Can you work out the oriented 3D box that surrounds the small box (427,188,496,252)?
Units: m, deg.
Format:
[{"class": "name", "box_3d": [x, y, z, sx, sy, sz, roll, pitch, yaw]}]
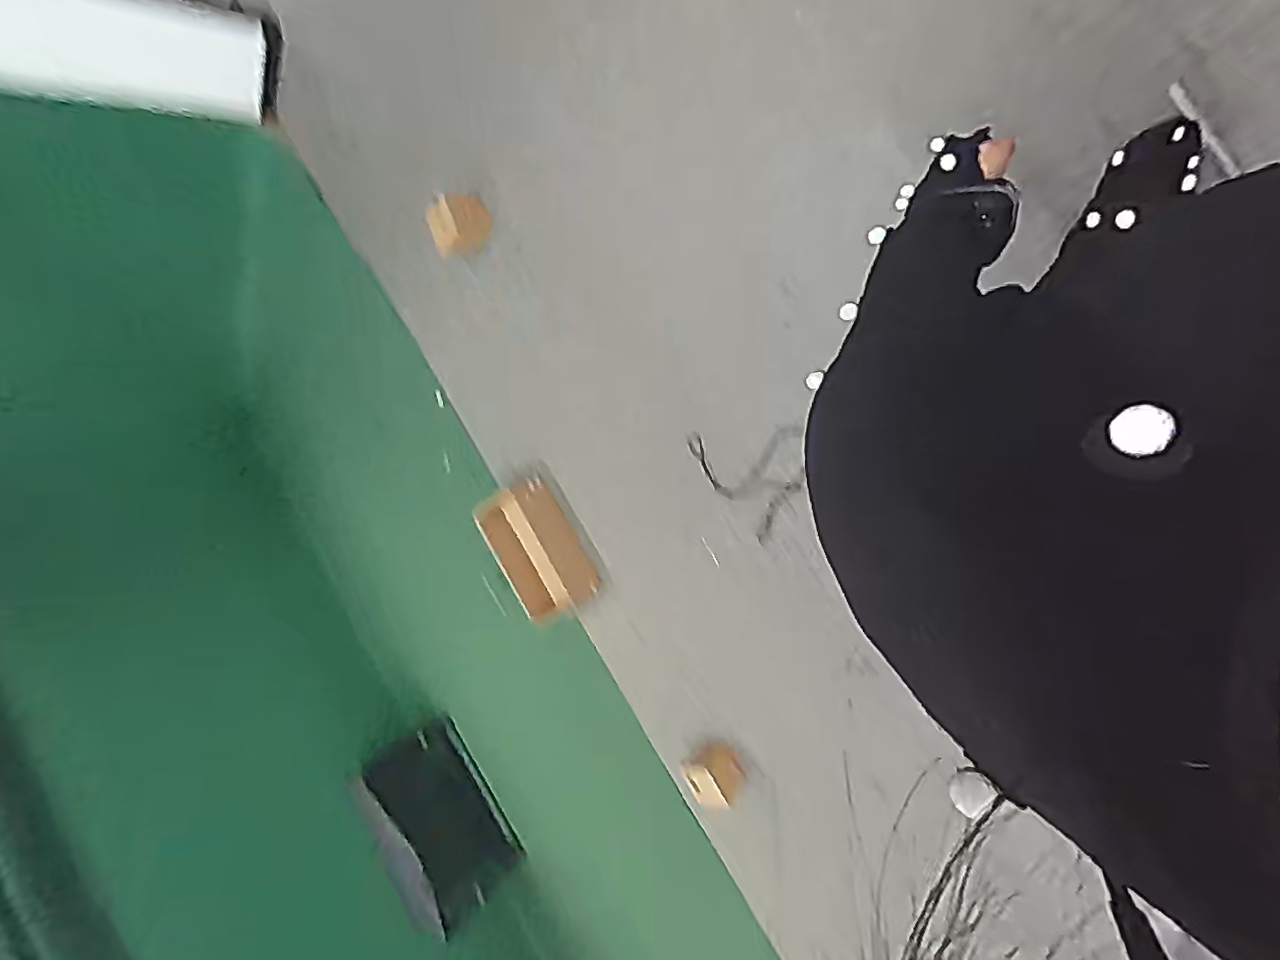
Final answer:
[{"class": "small box", "box_3d": [-0.701, -1.029, 2.138, 0.168, 0.176, 0.179, -18, 98, 45]}]

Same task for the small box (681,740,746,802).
[{"class": "small box", "box_3d": [0.311, 1.220, 2.275, 0.179, 0.176, 0.168, -33, 86, 44]}]
